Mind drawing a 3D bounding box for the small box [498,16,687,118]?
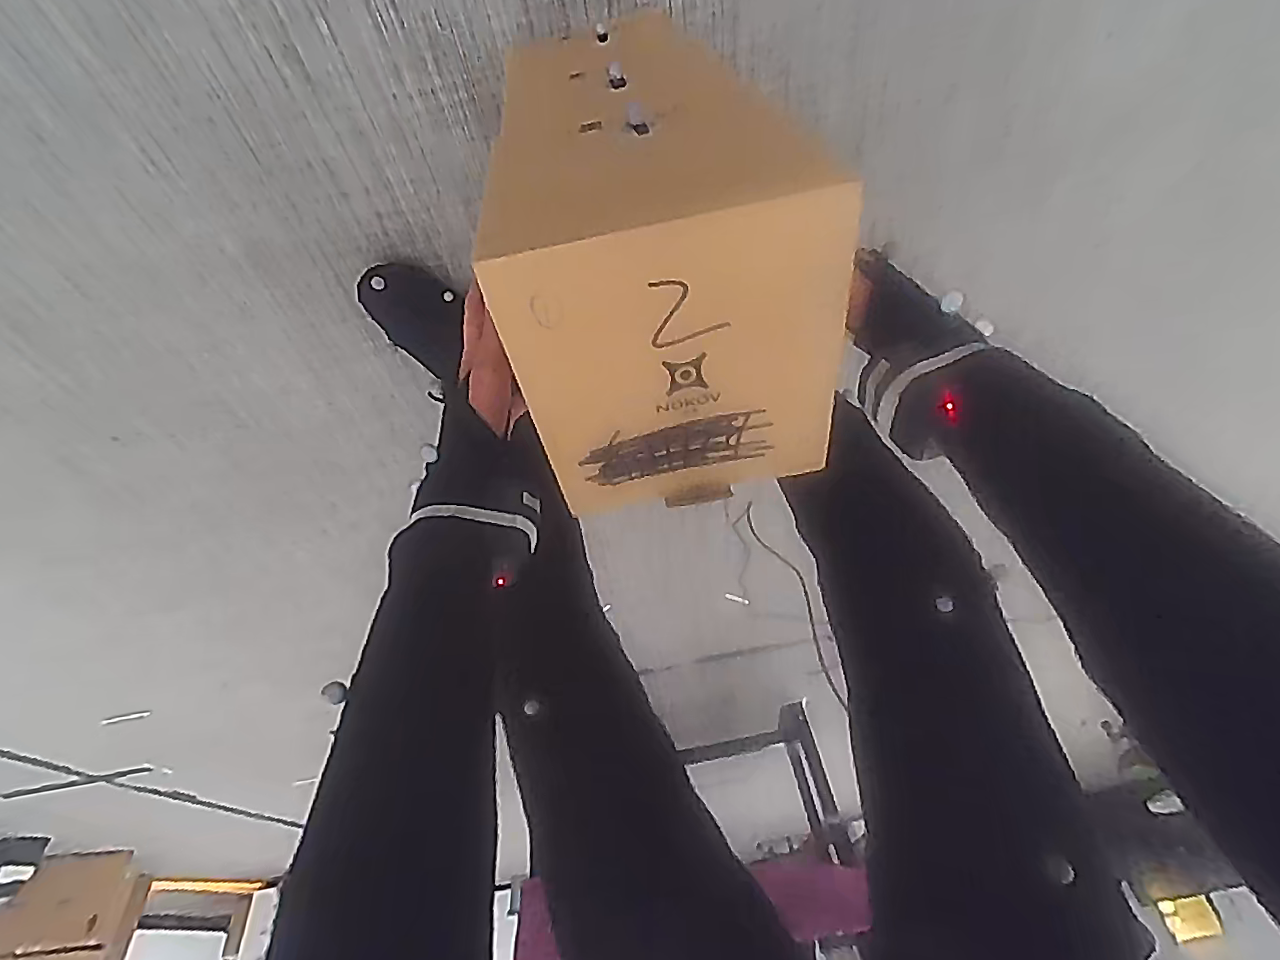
[{"bbox_3d":[-0.036,-0.342,0.563,0.168,0.176,0.179,-13,138,2],"label":"small box"}]
